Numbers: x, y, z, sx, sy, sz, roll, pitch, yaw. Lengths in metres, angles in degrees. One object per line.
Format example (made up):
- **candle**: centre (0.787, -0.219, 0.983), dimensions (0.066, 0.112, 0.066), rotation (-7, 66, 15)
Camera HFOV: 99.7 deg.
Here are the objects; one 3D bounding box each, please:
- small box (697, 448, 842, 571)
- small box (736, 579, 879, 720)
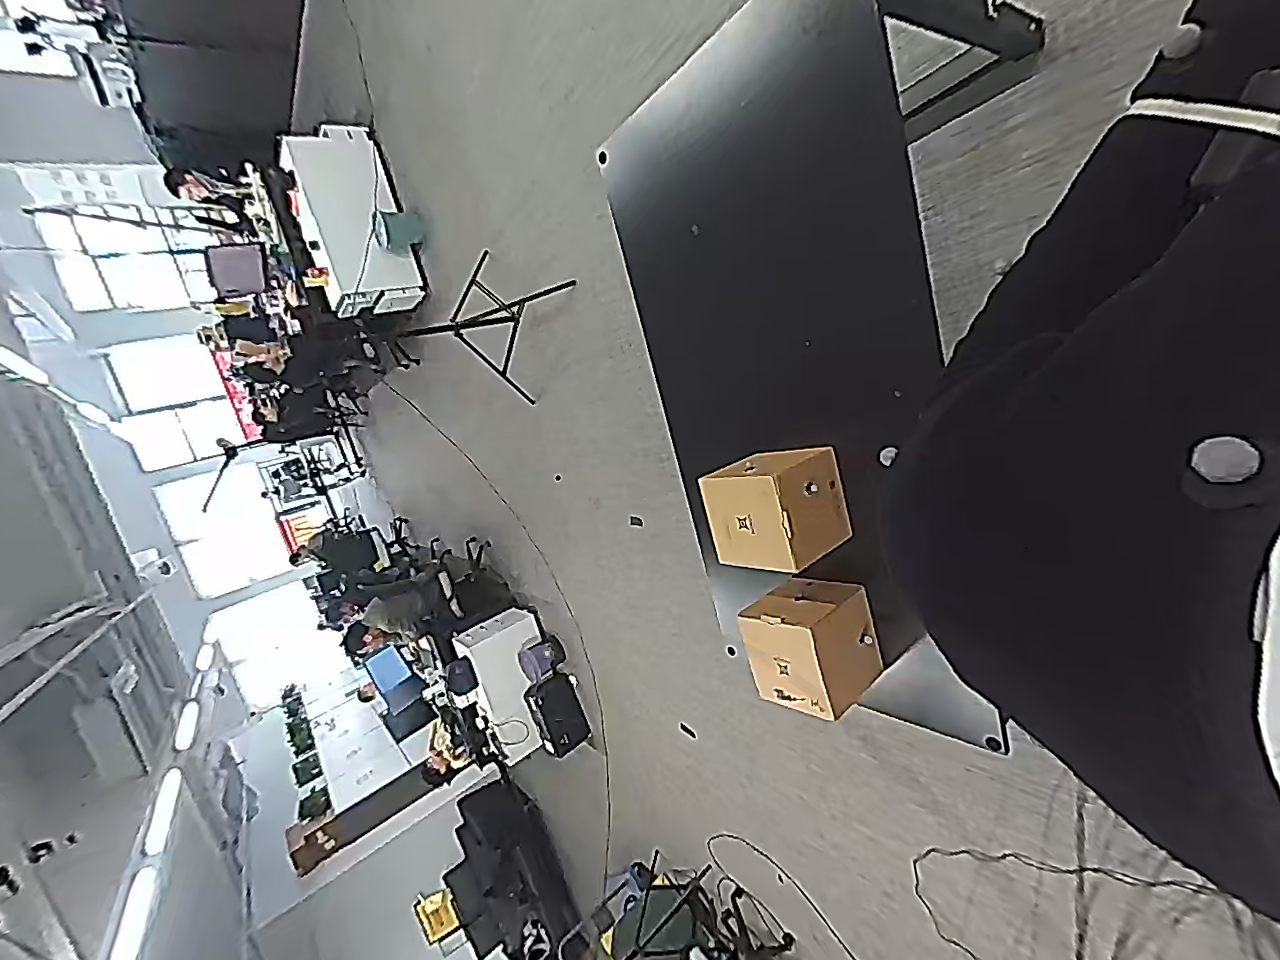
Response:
- **small box**: centre (0.234, 0.045, 0.954), dimensions (0.179, 0.176, 0.168), rotation (-3, 105, 54)
- **small box**: centre (0.308, 0.295, 0.989), dimensions (0.168, 0.176, 0.179), rotation (-6, 103, 54)
